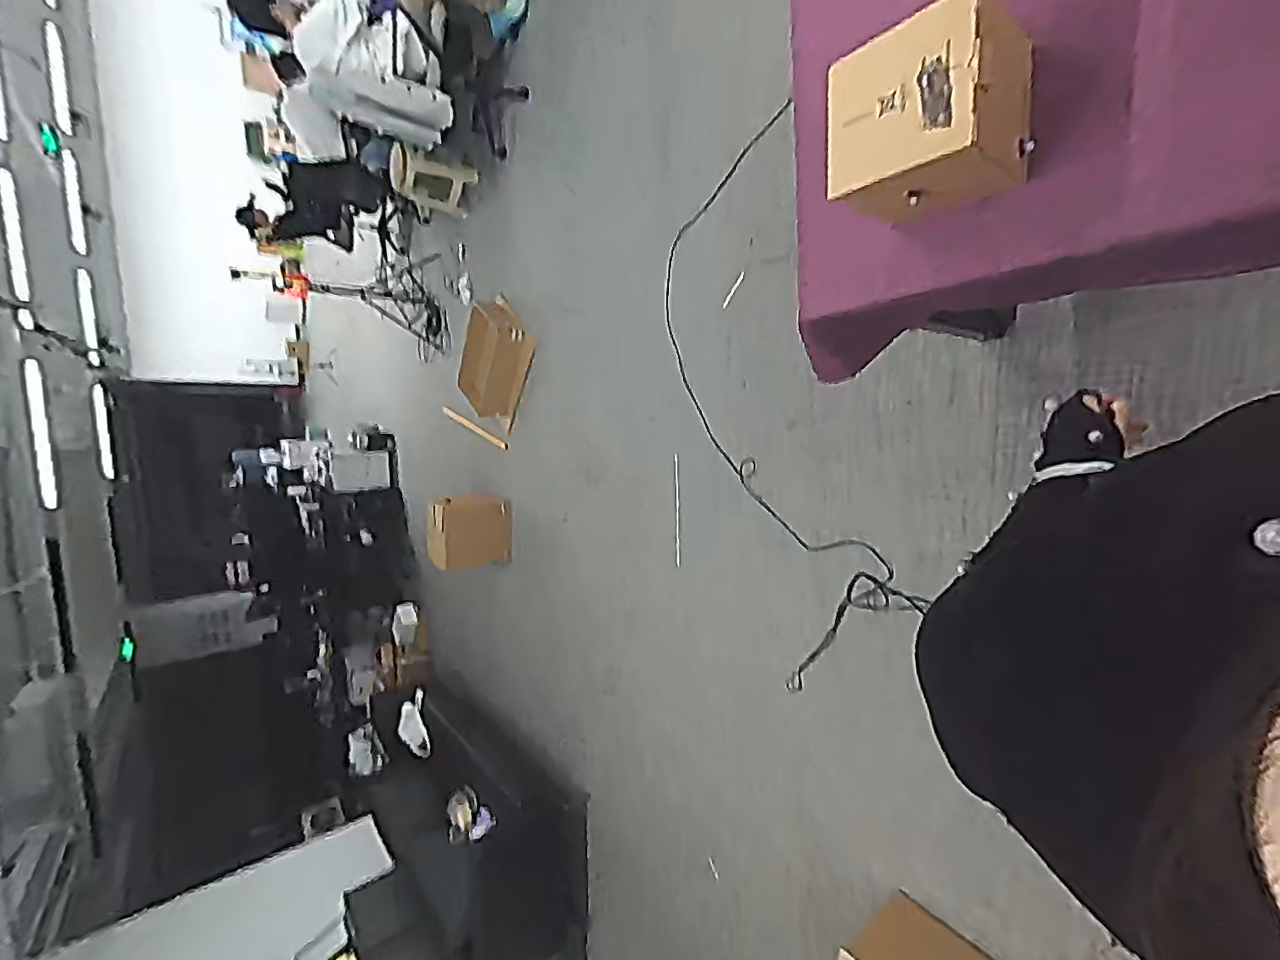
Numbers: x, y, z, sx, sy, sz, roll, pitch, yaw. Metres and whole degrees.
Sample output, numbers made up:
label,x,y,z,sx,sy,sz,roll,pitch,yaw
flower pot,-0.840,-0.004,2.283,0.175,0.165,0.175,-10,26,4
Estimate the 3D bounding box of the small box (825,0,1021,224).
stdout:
label,x,y,z,sx,sy,sz,roll,pitch,yaw
small box,0.359,-0.449,0.688,0.179,0.176,0.168,5,98,51
